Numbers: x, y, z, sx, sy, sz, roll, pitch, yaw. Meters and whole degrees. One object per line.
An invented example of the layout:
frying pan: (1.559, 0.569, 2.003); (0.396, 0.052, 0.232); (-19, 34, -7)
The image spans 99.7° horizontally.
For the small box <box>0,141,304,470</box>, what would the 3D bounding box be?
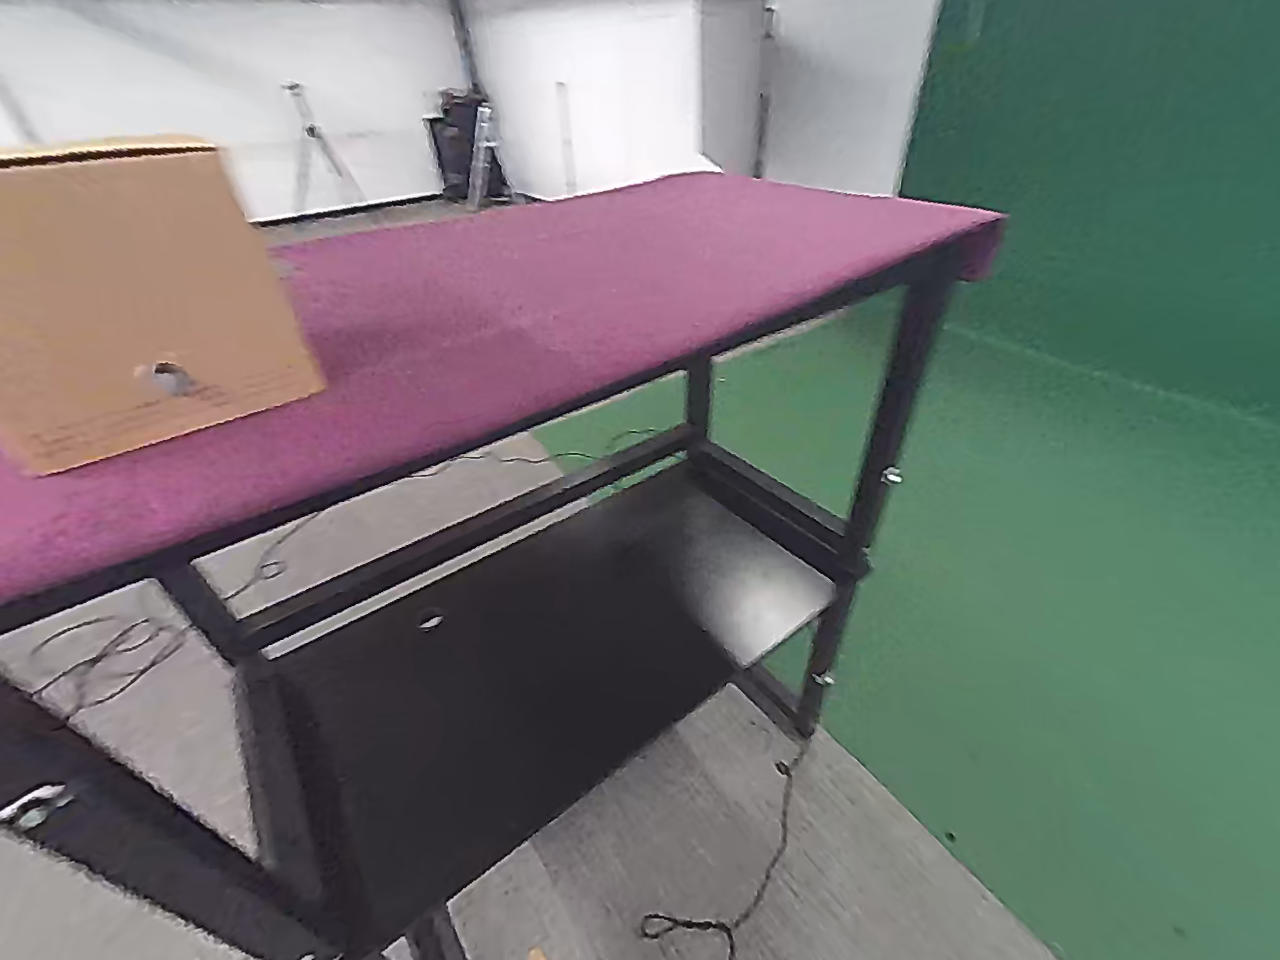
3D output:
small box: (-0.372, -0.135, 0.389); (0.179, 0.176, 0.168); (-27, 42, -29)
